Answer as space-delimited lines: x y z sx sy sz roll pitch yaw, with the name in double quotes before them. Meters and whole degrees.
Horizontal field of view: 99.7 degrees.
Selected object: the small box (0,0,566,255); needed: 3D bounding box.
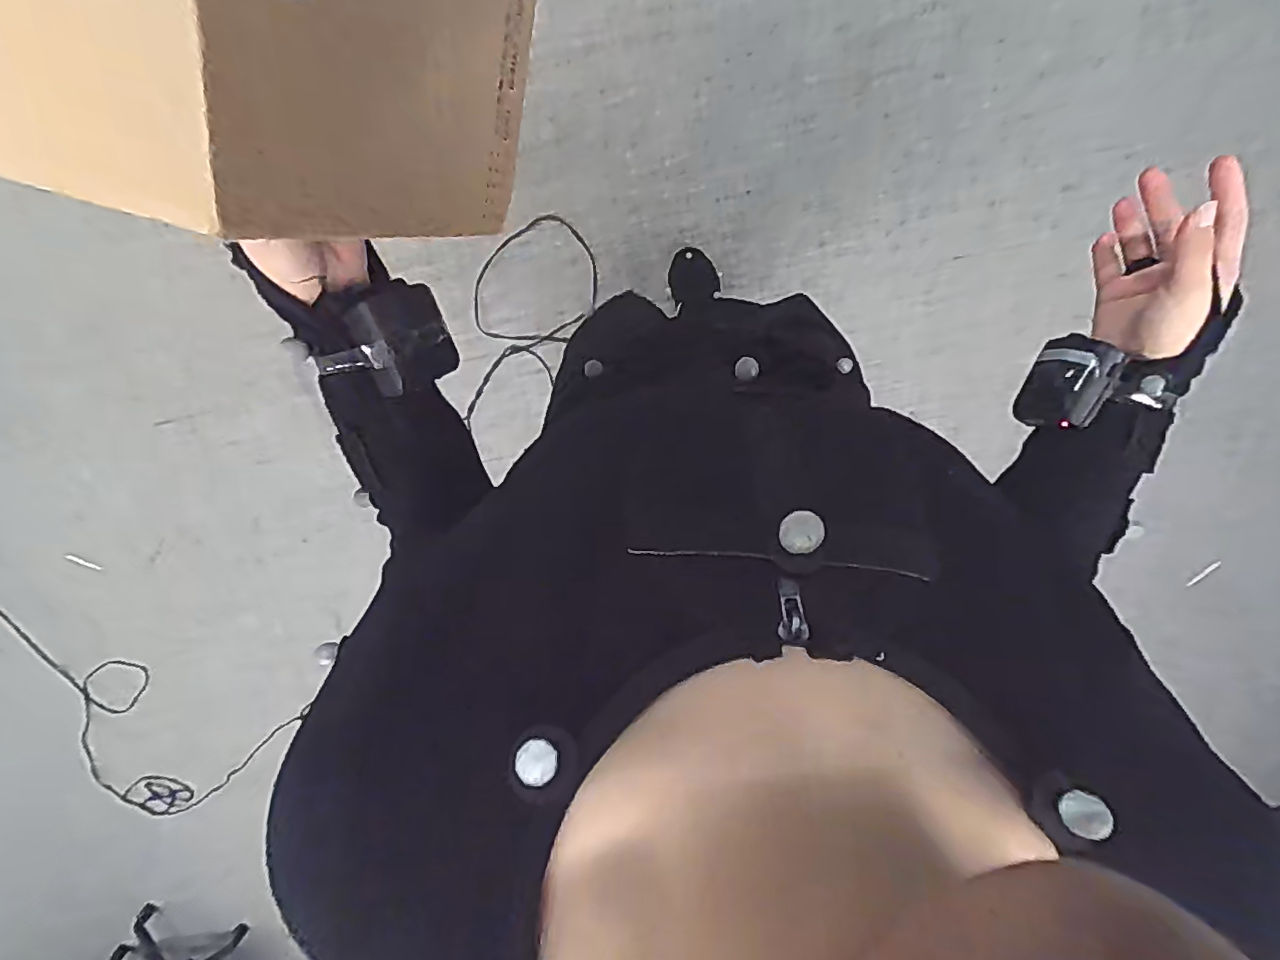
"small box" -0.136 -0.183 0.180 0.179 0.176 0.168 17 117 3
